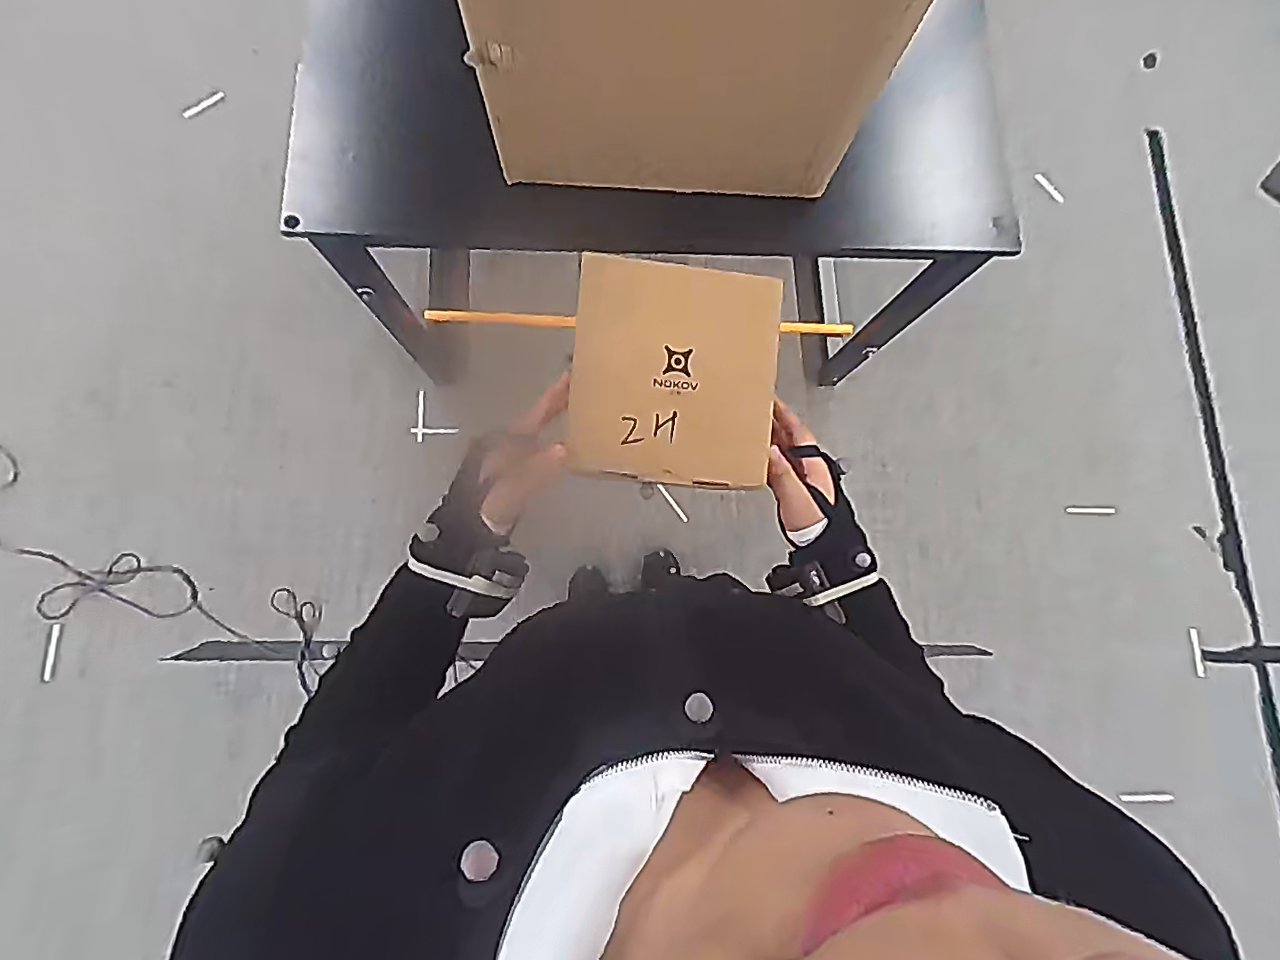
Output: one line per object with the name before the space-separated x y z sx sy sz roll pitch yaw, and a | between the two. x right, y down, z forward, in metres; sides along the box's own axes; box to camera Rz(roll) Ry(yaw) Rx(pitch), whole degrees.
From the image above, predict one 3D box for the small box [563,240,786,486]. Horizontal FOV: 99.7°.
small box | 0.021 -0.090 0.503 0.168 0.176 0.179 6 88 -5
